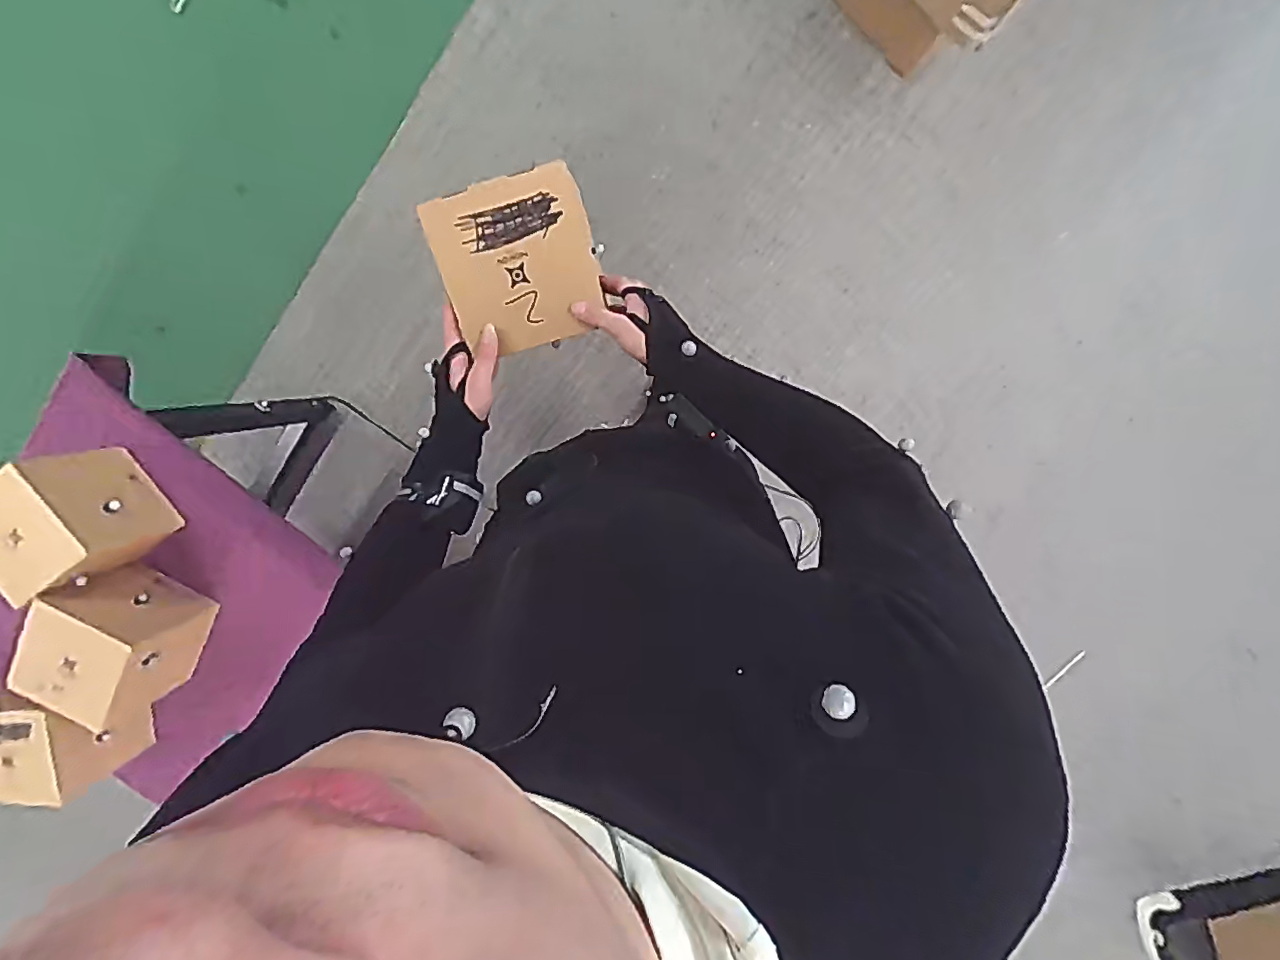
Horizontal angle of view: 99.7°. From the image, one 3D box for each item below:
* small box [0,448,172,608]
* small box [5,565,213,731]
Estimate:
[{"bbox_3d":[-0.917,0.066,0.869,0.179,0.176,0.168,-32,99,11],"label":"small box"},{"bbox_3d":[-0.877,0.271,0.911,0.168,0.176,0.179,29,102,-3],"label":"small box"}]
